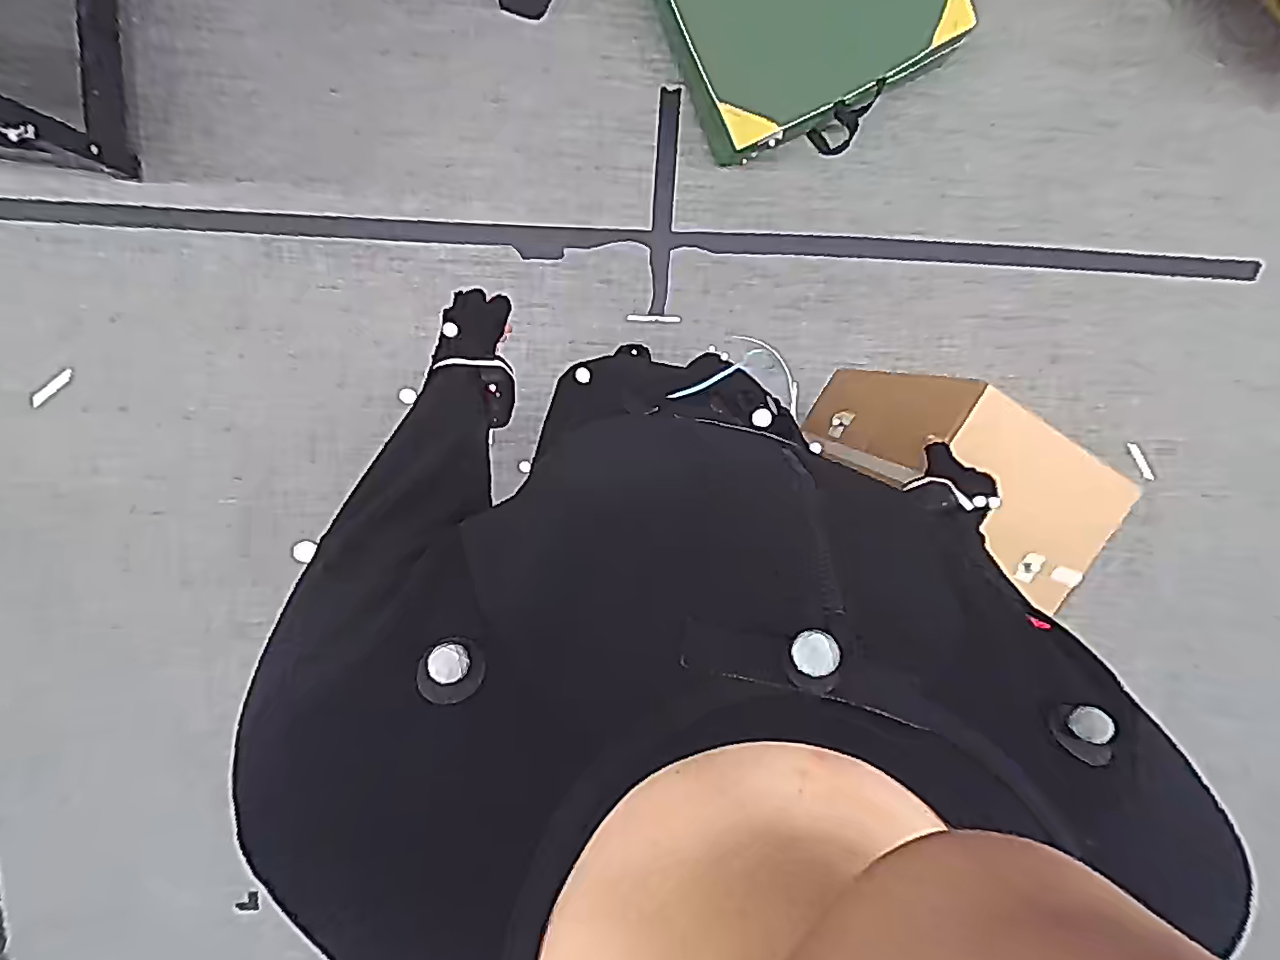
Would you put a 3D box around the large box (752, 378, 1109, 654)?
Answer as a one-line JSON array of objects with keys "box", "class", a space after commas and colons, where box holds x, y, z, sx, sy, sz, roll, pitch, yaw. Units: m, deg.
[{"box": [0.466, 0.034, 0.962, 0.320, 0.408, 0.320, 30, 97, -13], "class": "large box"}]
